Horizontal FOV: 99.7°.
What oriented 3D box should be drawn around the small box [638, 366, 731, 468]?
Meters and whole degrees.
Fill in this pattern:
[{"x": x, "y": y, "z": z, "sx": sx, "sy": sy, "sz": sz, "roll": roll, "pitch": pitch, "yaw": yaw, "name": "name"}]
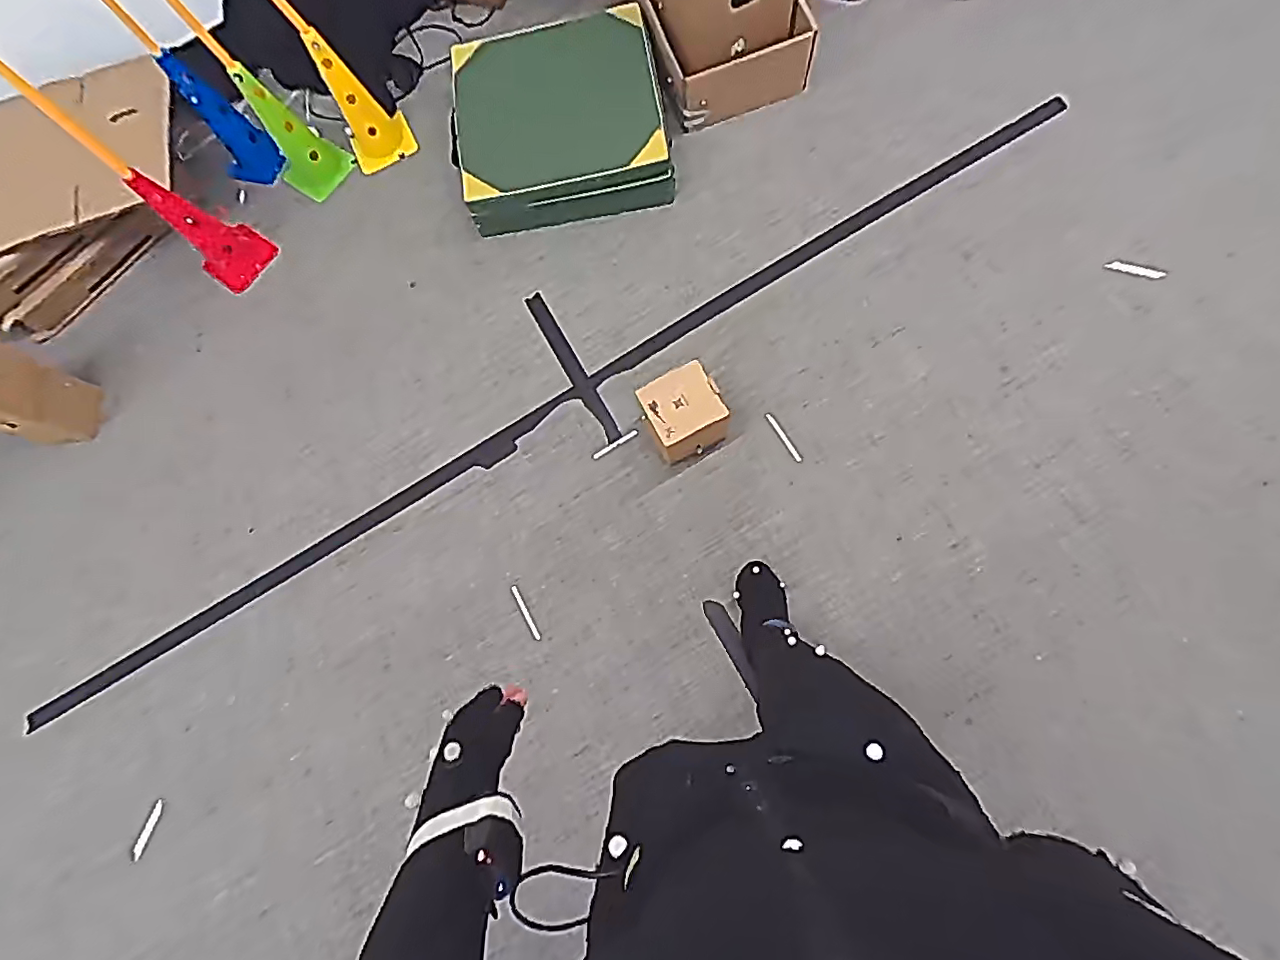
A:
[{"x": 0.111, "y": -0.155, "z": 1.375, "sx": 0.179, "sy": 0.176, "sz": 0.168, "roll": -27, "pitch": 74, "yaw": -2, "name": "small box"}]
